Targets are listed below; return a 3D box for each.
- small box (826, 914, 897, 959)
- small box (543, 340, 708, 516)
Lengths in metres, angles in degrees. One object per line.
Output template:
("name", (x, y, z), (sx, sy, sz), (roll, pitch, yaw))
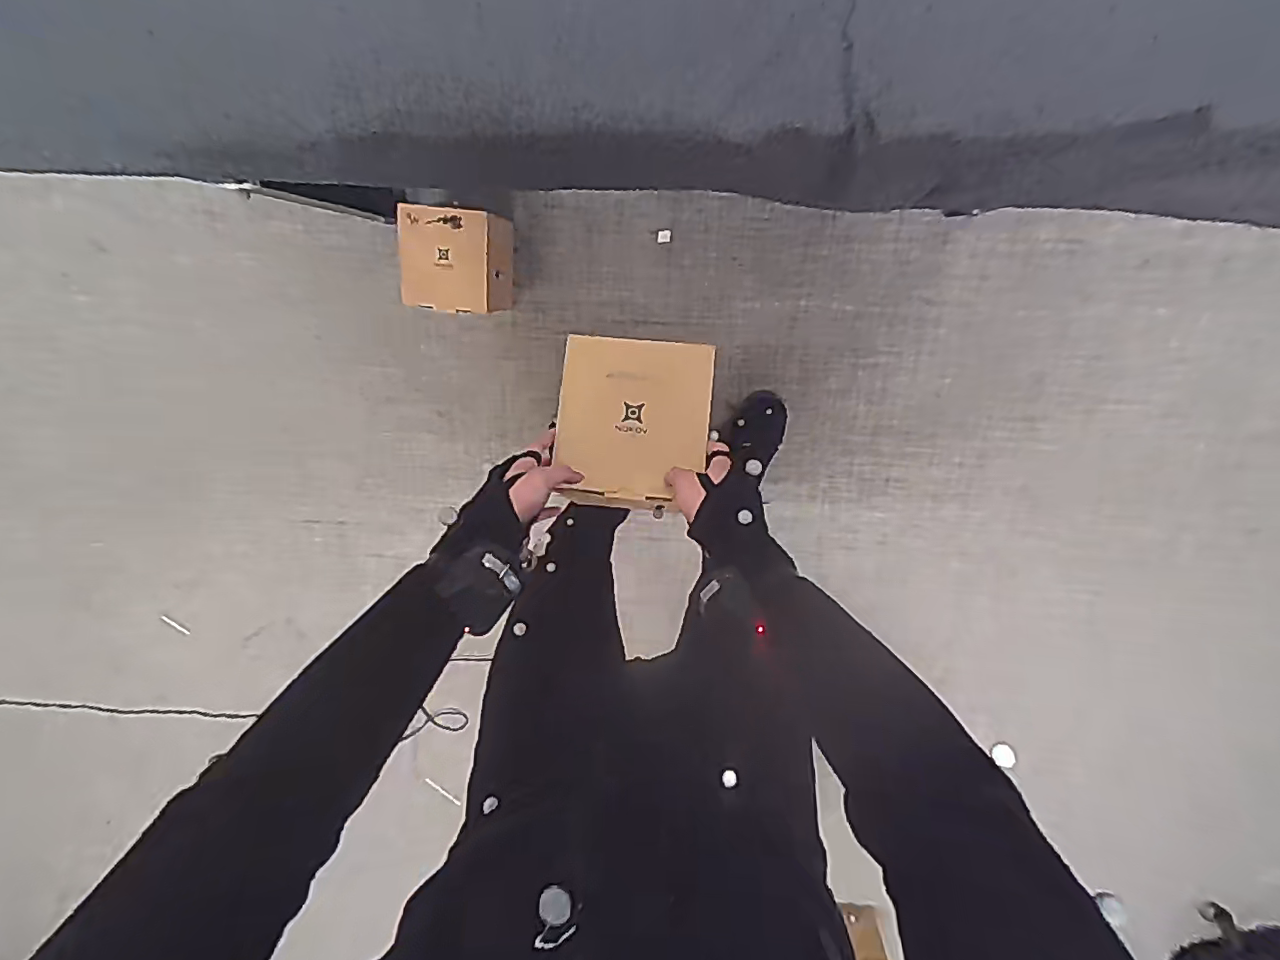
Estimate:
("small box", (0.662, 1.443, 1.601), (0.168, 0.176, 0.179), (3, 108, 3))
("small box", (-0.009, -0.052, 0.664), (0.168, 0.176, 0.179), (6, 82, 5))
